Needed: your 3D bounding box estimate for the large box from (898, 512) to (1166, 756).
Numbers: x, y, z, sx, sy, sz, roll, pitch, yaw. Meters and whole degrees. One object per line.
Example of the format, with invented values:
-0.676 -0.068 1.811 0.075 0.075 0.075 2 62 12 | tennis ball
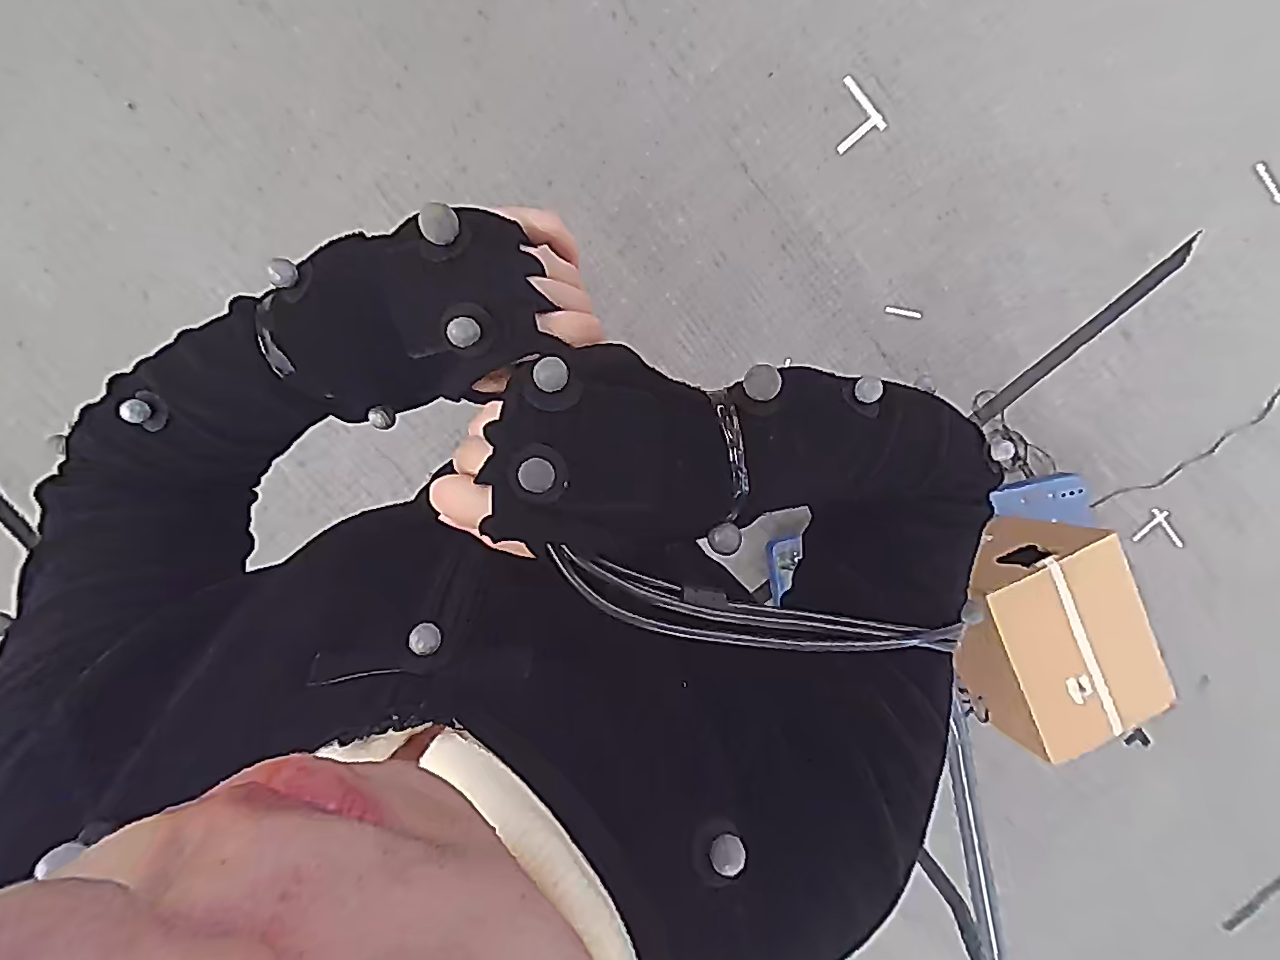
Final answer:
0.887 0.329 1.267 0.320 0.320 0.408 -24 96 -3 | large box
